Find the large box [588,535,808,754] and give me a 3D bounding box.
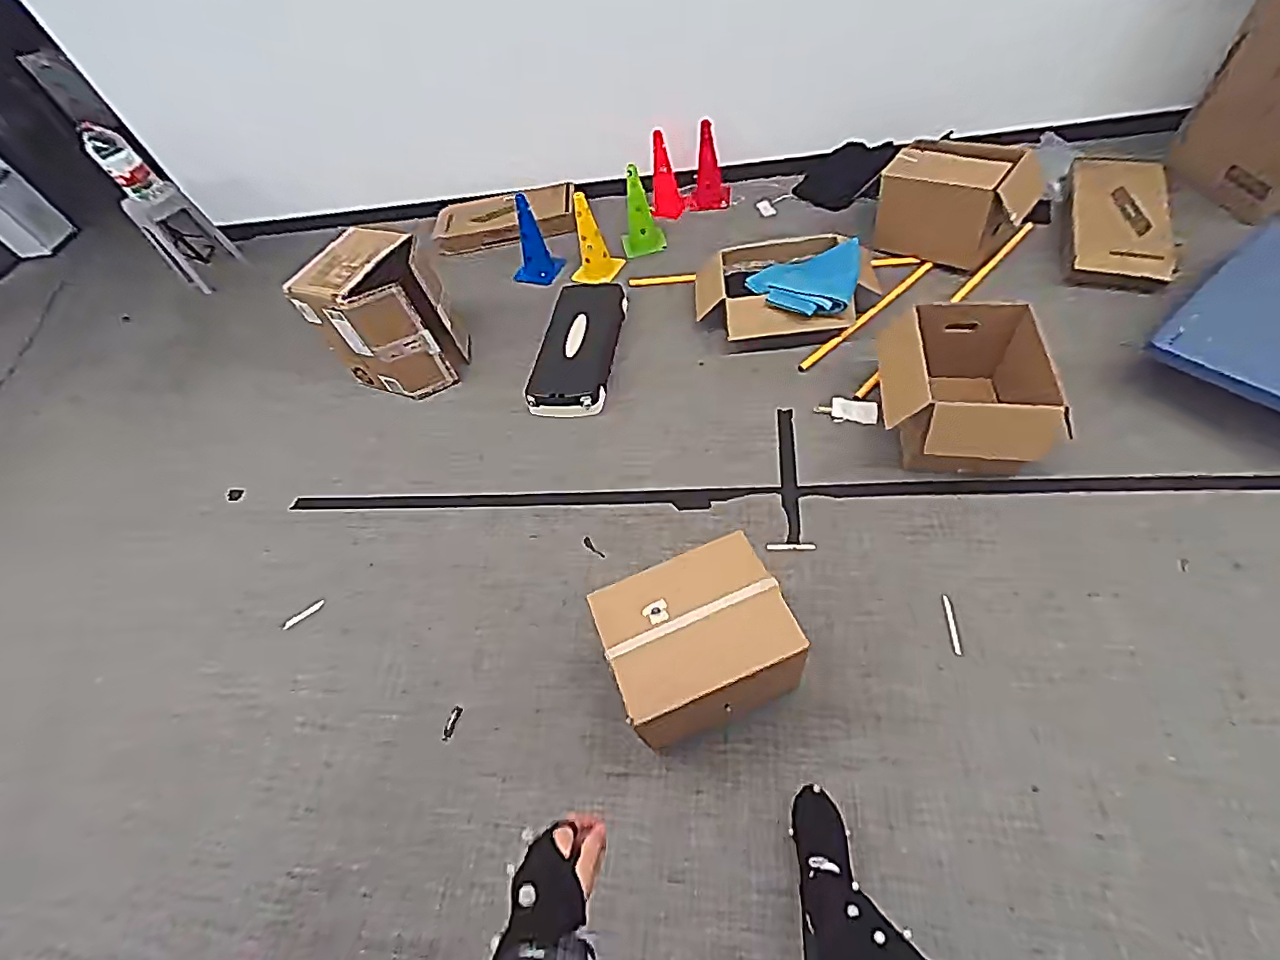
[{"bbox_3d":[0.140,0.401,1.301,0.408,0.320,0.320,-23,53,-5],"label":"large box"}]
